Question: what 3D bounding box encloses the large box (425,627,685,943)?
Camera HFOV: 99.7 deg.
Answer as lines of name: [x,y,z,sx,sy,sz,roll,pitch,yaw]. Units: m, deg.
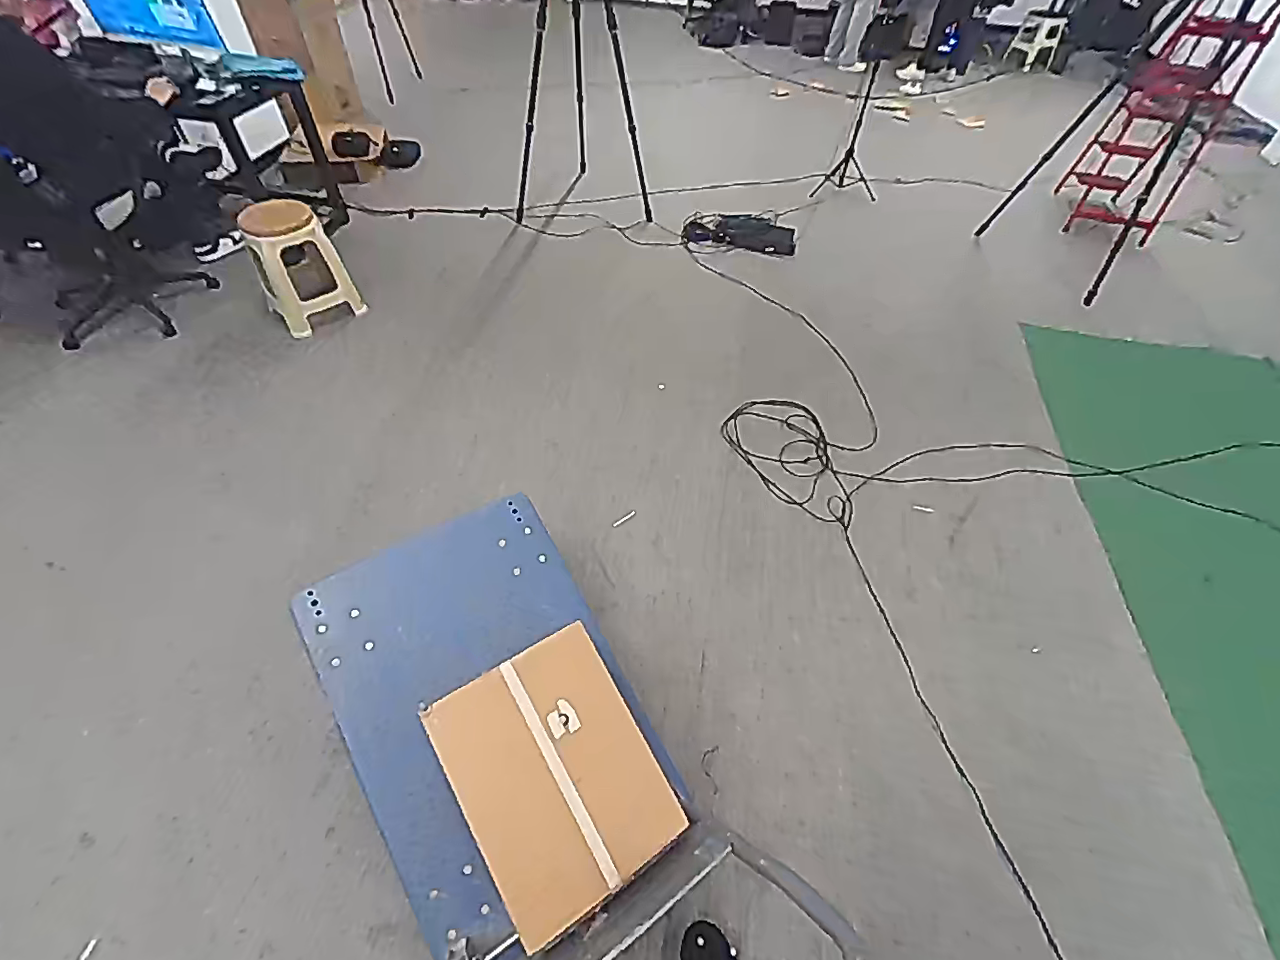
large box: [-0.177,0.561,1.079,0.320,0.320,0.408,-26,77,-23]
